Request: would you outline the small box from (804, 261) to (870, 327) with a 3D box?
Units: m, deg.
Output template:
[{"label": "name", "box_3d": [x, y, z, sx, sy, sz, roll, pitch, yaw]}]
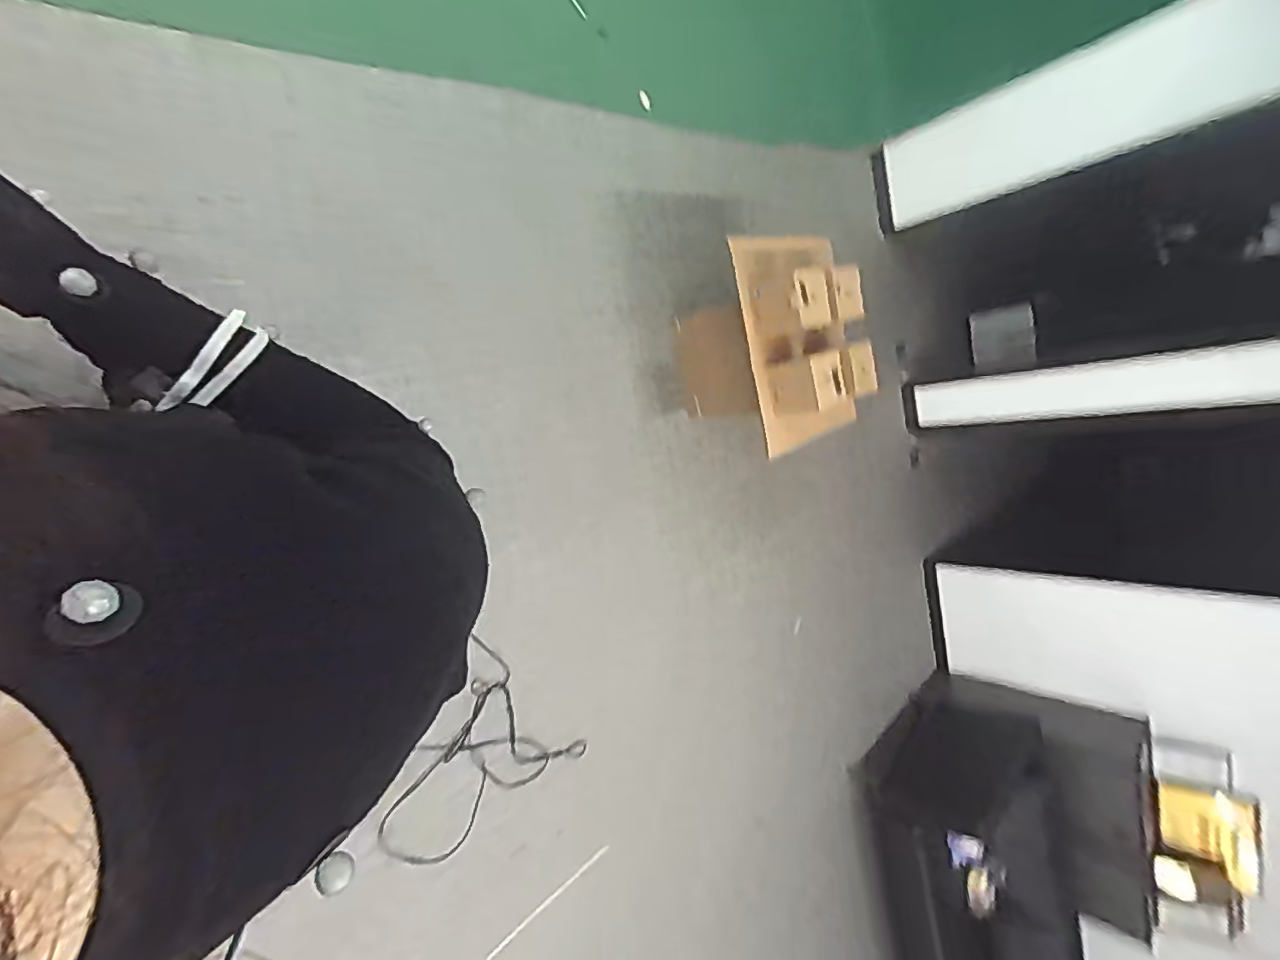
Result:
[{"label": "small box", "box_3d": [0.645, -0.624, 1.818, 0.179, 0.176, 0.168, -24, 104, -39]}]

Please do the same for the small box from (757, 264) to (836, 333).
[{"label": "small box", "box_3d": [0.481, -0.562, 1.681, 0.179, 0.176, 0.168, -21, 103, -39]}]
